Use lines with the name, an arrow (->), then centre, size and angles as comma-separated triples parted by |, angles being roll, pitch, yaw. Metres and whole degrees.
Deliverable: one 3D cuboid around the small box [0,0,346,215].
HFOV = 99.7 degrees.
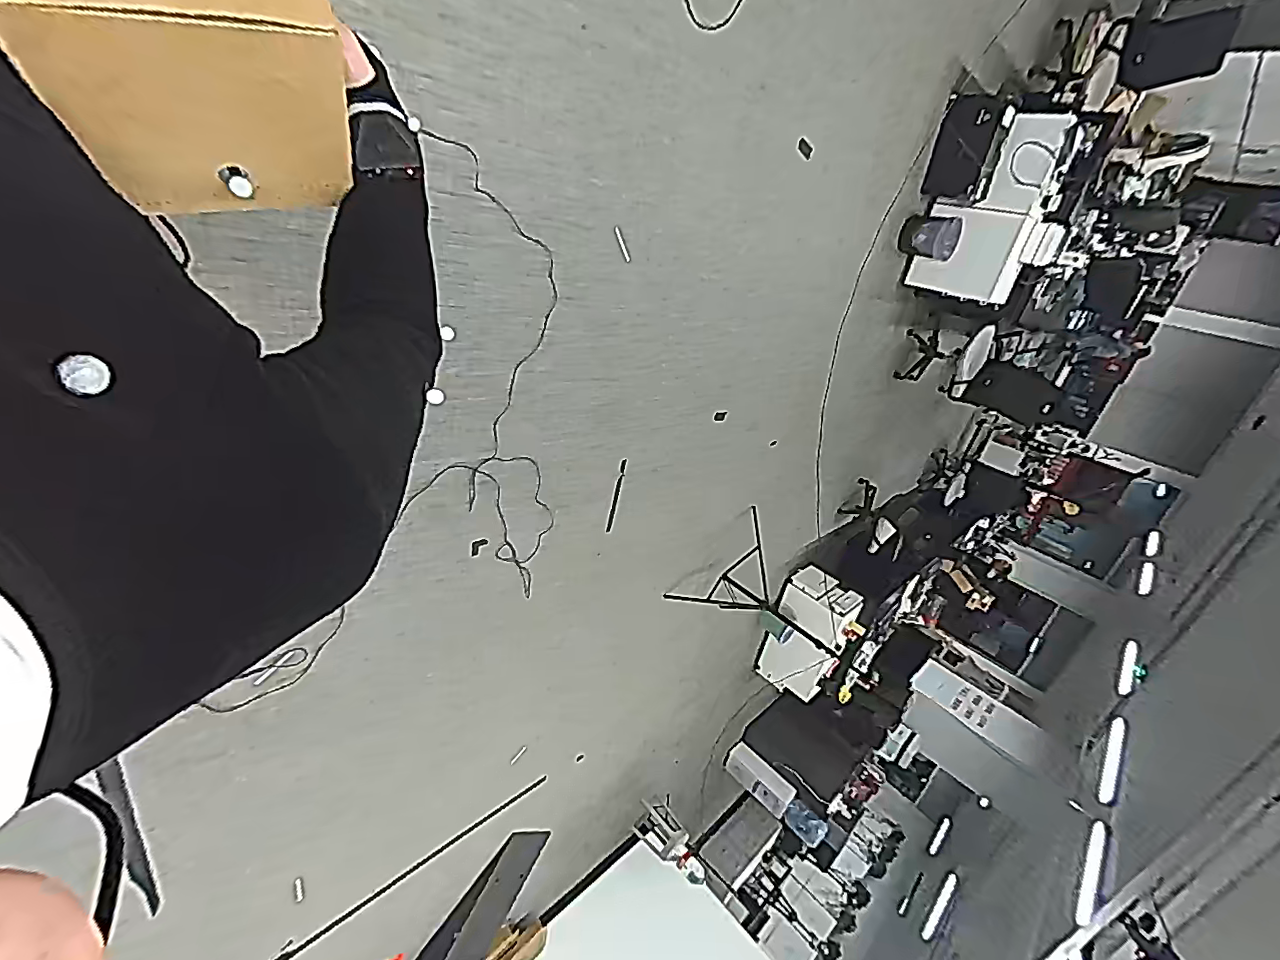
small box -> -0.342, -0.330, 0.414 | 0.179, 0.168, 0.176 | -20, 175, -28
